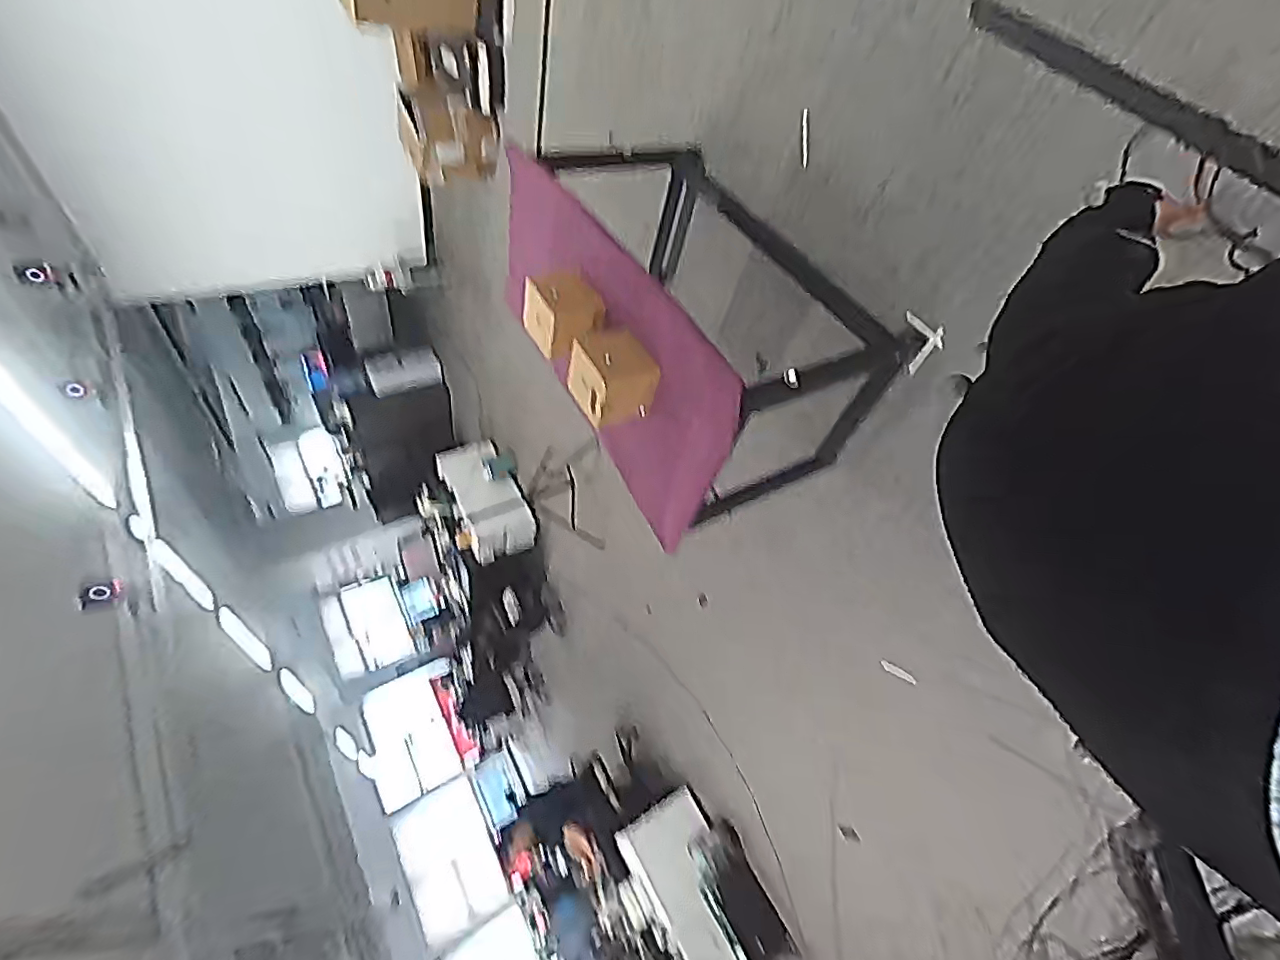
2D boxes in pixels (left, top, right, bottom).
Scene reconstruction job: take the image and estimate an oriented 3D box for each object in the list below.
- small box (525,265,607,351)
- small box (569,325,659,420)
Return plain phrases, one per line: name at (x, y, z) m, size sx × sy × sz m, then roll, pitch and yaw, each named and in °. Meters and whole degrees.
small box at (-0.218, -0.506, 1.577) m, size 0.179 × 0.176 × 0.168 m, roll 56°, pitch 149°, yaw 23°
small box at (-0.071, -0.295, 1.454) m, size 0.179 × 0.176 × 0.168 m, roll 56°, pitch 149°, yaw 24°
